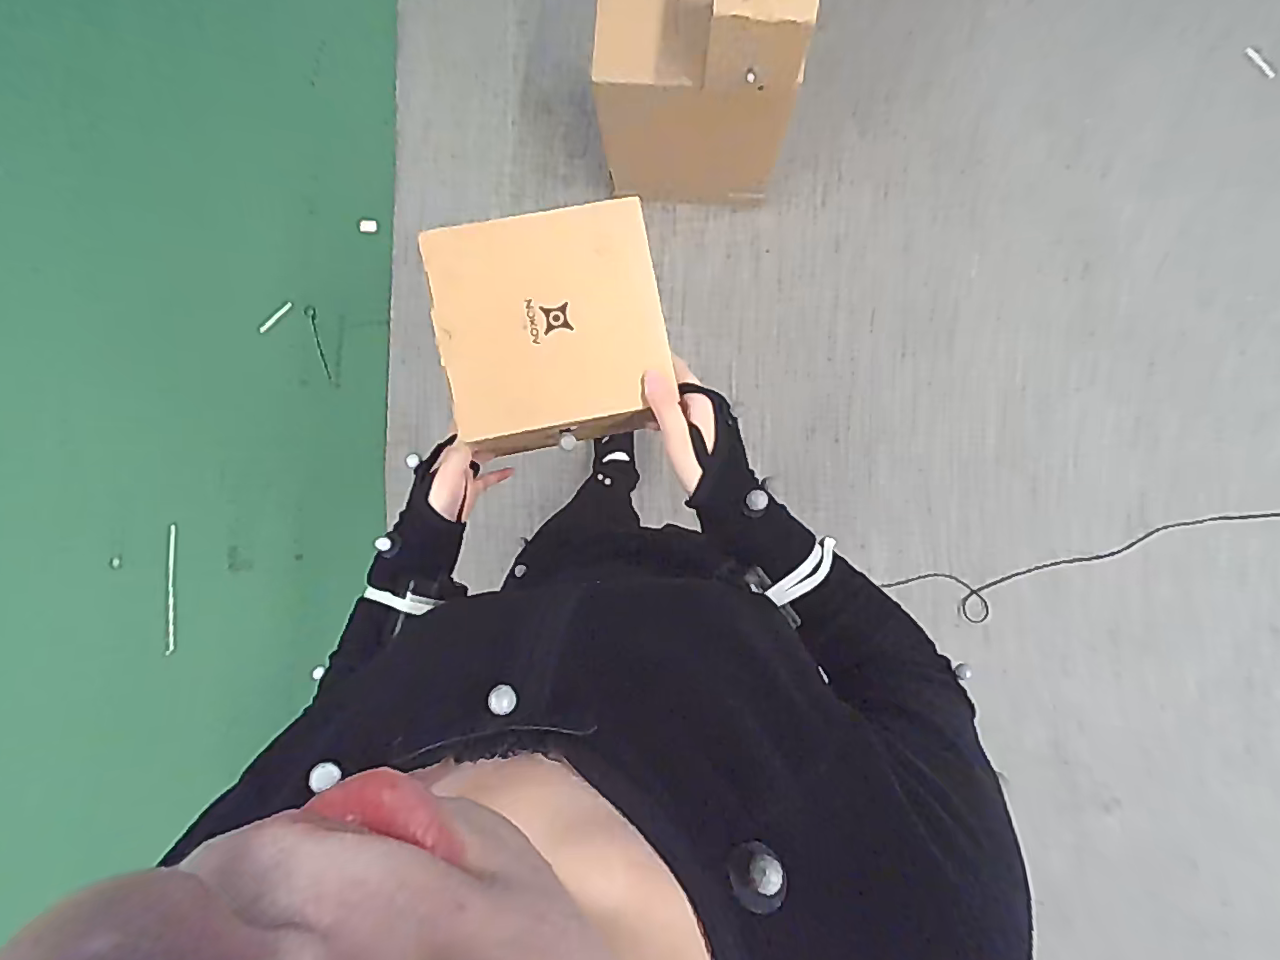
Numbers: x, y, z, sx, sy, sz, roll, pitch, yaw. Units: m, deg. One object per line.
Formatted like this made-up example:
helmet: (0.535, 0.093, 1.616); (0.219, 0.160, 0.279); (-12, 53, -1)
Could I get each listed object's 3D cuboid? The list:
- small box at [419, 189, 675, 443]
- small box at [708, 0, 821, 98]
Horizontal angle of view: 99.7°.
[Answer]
small box: (-0.075, -0.133, 0.498); (0.179, 0.176, 0.168); (-11, 90, -3)
small box: (0.212, -0.808, 0.928); (0.168, 0.176, 0.179); (8, 89, 3)
